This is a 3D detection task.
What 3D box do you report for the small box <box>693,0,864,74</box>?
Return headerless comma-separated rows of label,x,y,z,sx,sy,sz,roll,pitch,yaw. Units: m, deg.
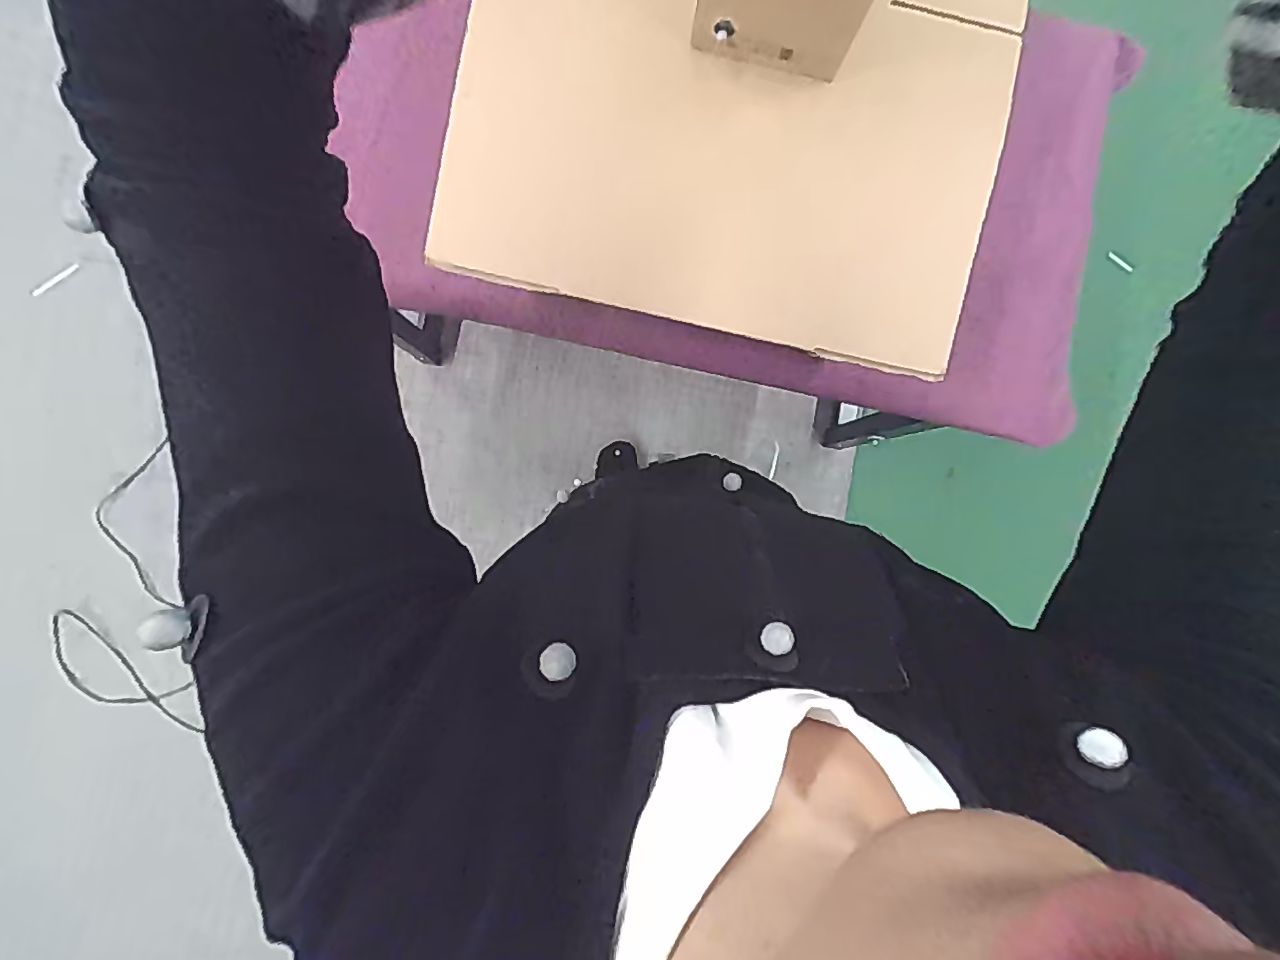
small box,0.153,-0.551,0.527,0.168,0.176,0.179,12,84,-2
